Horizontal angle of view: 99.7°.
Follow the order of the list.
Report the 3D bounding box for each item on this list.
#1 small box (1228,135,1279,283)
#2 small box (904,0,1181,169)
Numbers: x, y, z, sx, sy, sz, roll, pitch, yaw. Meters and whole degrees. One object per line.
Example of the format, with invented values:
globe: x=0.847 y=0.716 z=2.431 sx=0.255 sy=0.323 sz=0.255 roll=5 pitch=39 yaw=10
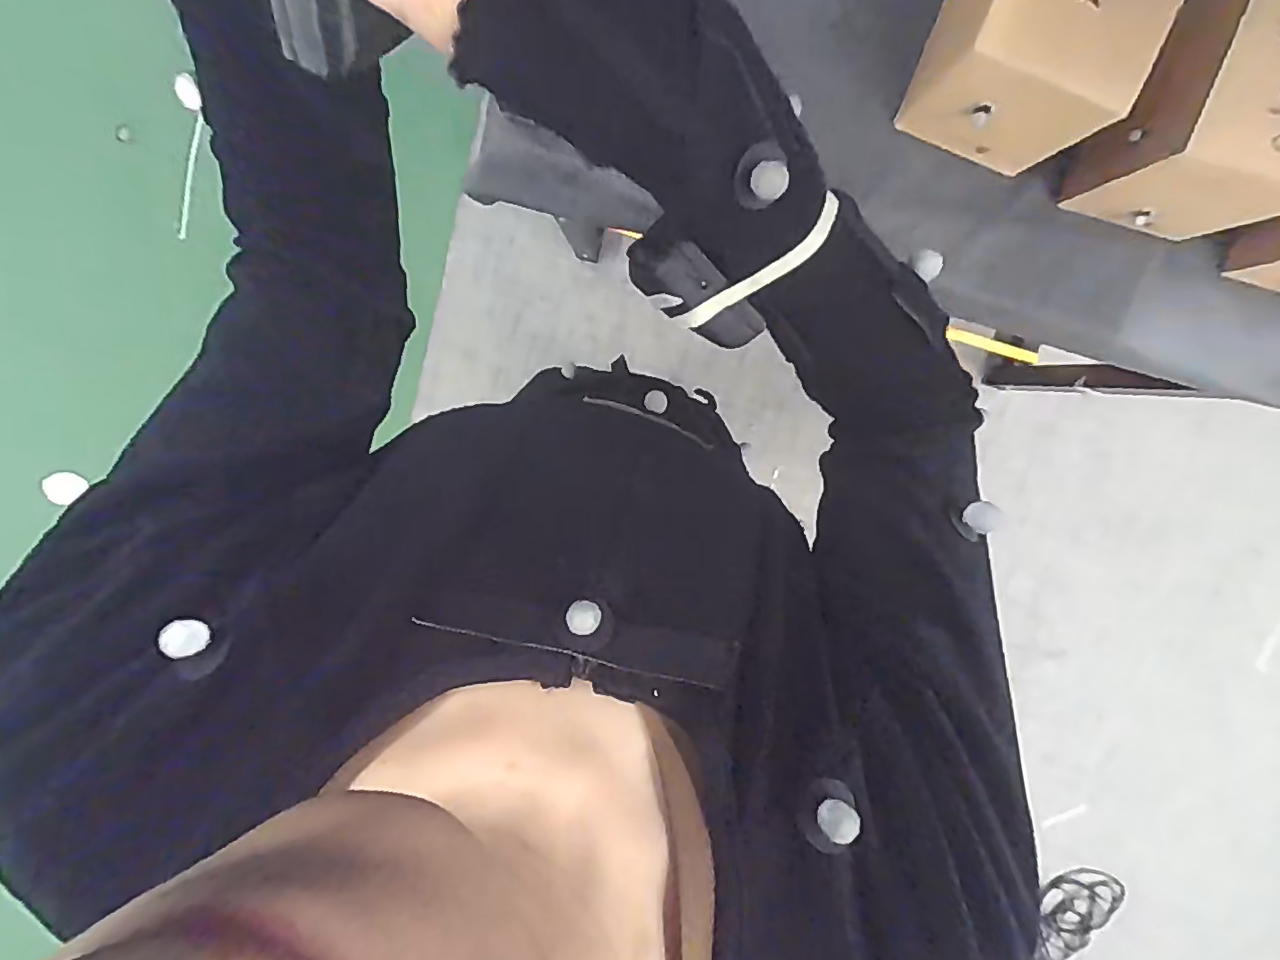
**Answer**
small box: x=0.835 y=-0.312 z=0.599 sx=0.168 sy=0.176 sz=0.179 roll=14 pitch=100 yaw=-3
small box: x=0.415 y=-0.469 z=0.575 sx=0.168 sy=0.176 sz=0.179 roll=20 pitch=100 yaw=-4
